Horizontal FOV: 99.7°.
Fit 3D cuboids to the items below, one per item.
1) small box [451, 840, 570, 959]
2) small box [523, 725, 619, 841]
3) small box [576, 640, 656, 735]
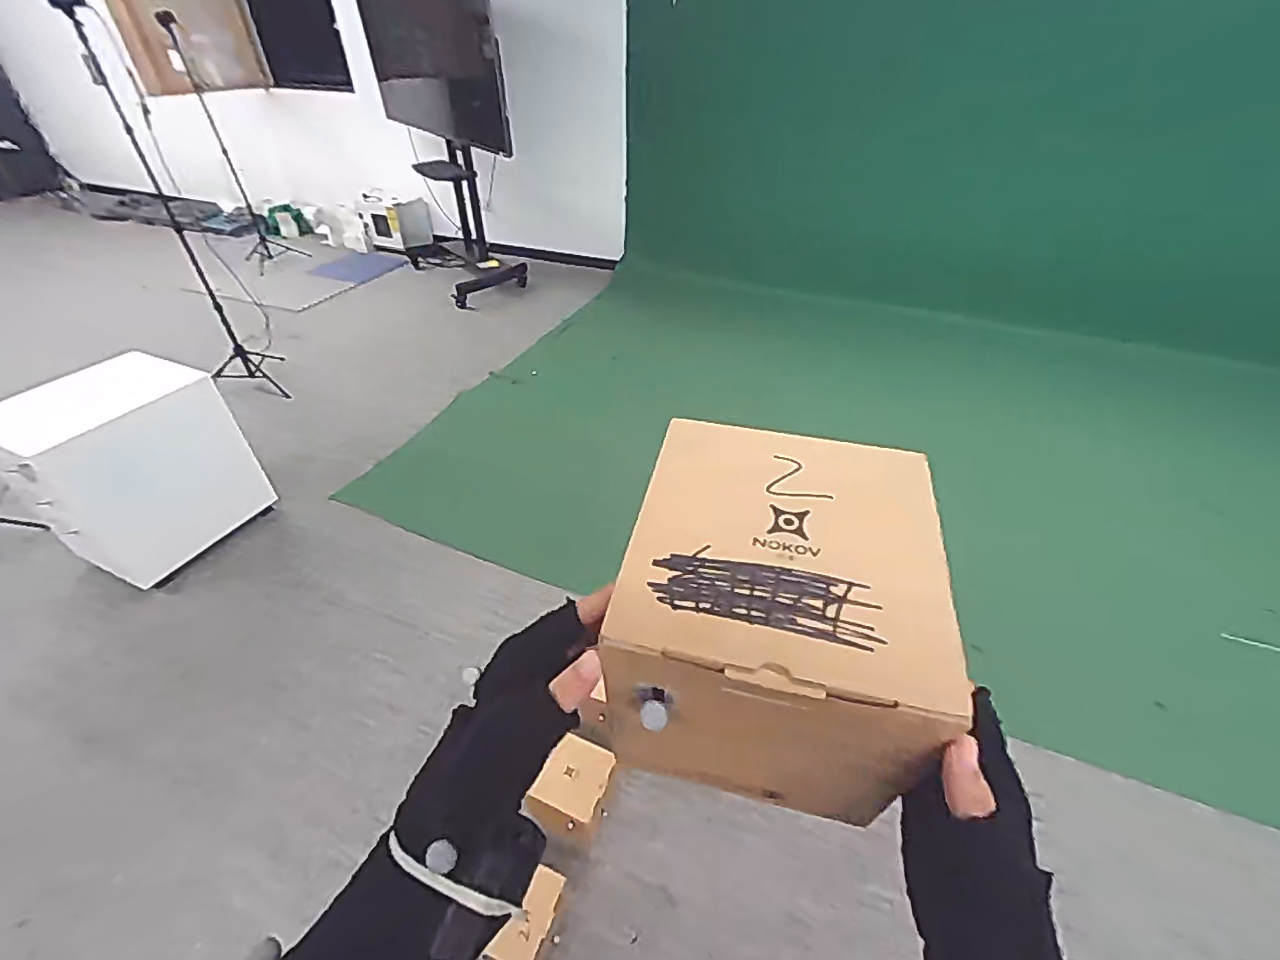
[{"bbox_3d":[-0.260,0.898,1.126,0.179,0.176,0.168,15,42,15],"label":"small box"},{"bbox_3d":[-0.162,0.743,1.322,0.179,0.176,0.168,16,41,16],"label":"small box"},{"bbox_3d":[-0.064,0.586,1.516,0.179,0.176,0.168,14,41,14],"label":"small box"}]
